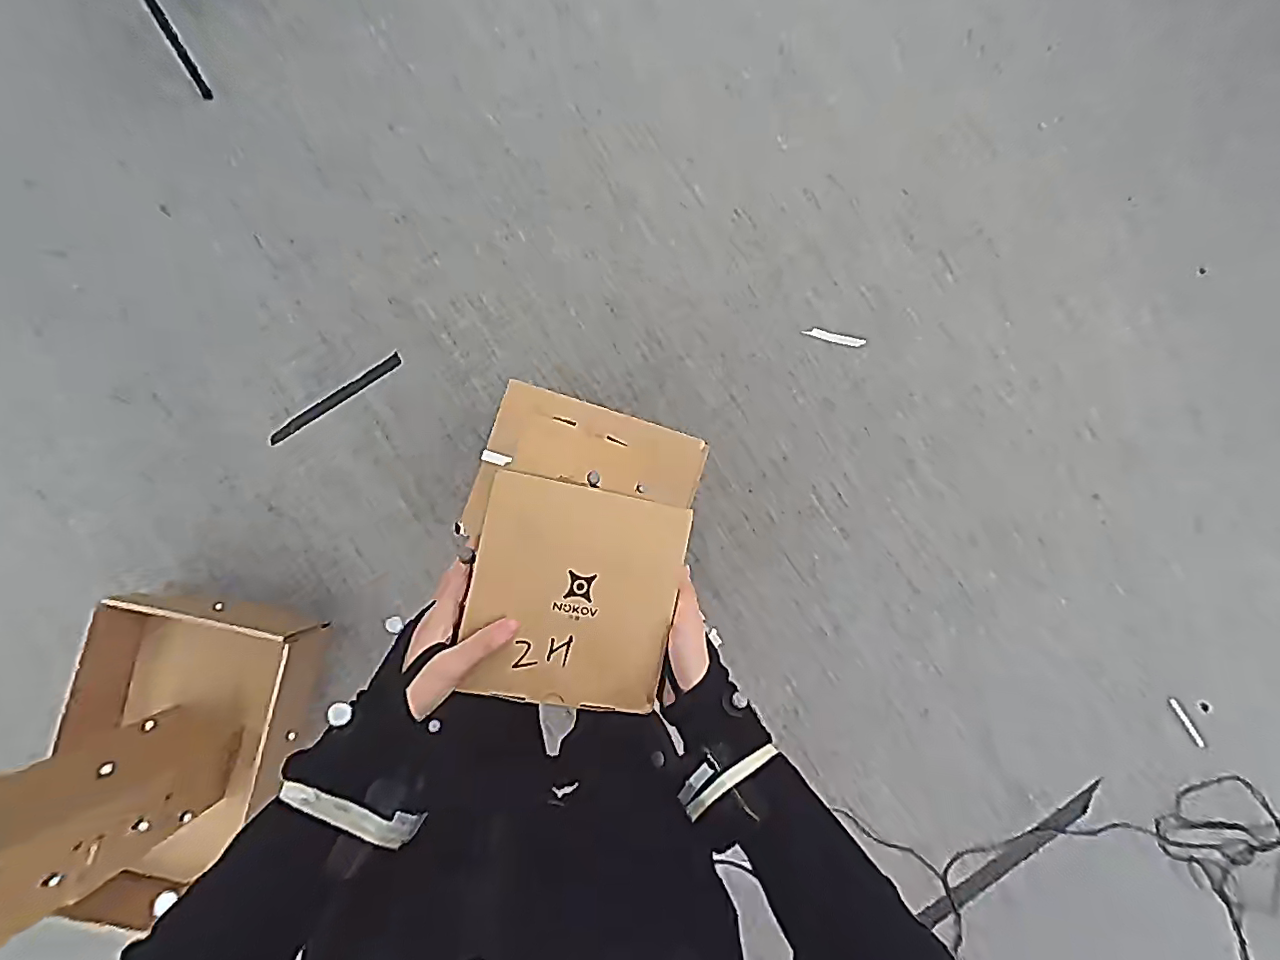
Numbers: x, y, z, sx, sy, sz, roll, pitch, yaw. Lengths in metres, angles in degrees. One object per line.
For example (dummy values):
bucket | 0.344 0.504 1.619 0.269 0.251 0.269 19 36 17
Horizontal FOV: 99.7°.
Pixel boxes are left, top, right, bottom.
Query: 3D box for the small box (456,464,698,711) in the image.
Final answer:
small box | -0.065 0.088 0.510 0.168 0.176 0.179 13 88 -13

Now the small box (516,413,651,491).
small box | -0.094 0.025 0.782 0.168 0.176 0.179 20 86 -1

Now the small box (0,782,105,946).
small box | -0.971 0.576 0.795 0.179 0.176 0.168 16 85 -1

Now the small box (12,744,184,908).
small box | -0.973 0.597 0.957 0.179 0.176 0.168 17 85 -2
